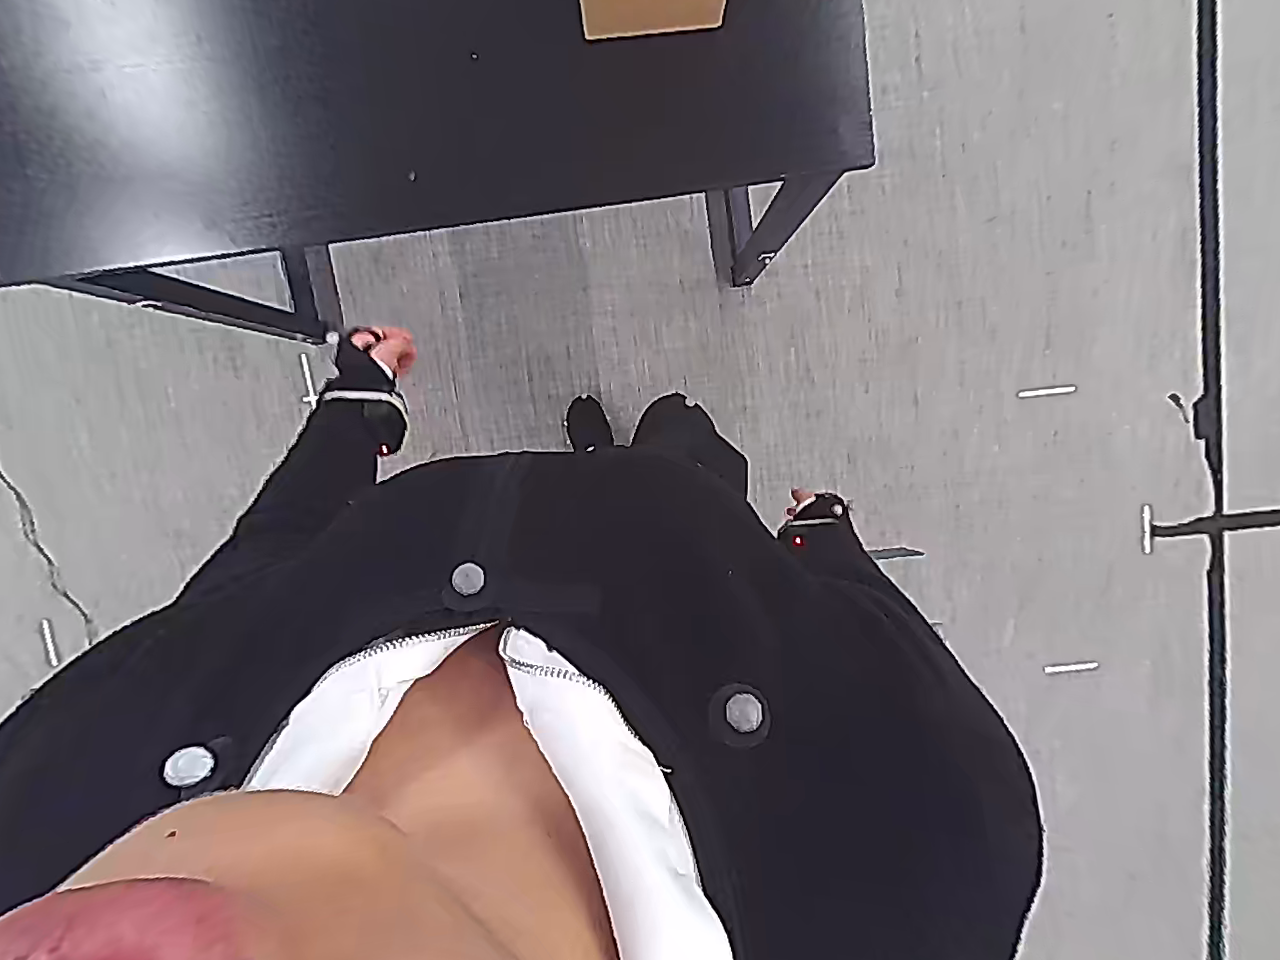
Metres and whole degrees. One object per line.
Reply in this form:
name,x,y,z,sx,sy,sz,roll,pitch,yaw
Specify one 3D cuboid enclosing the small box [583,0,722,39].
small box,0.012,-0.647,0.616,0.179,0.176,0.168,-5,96,0
